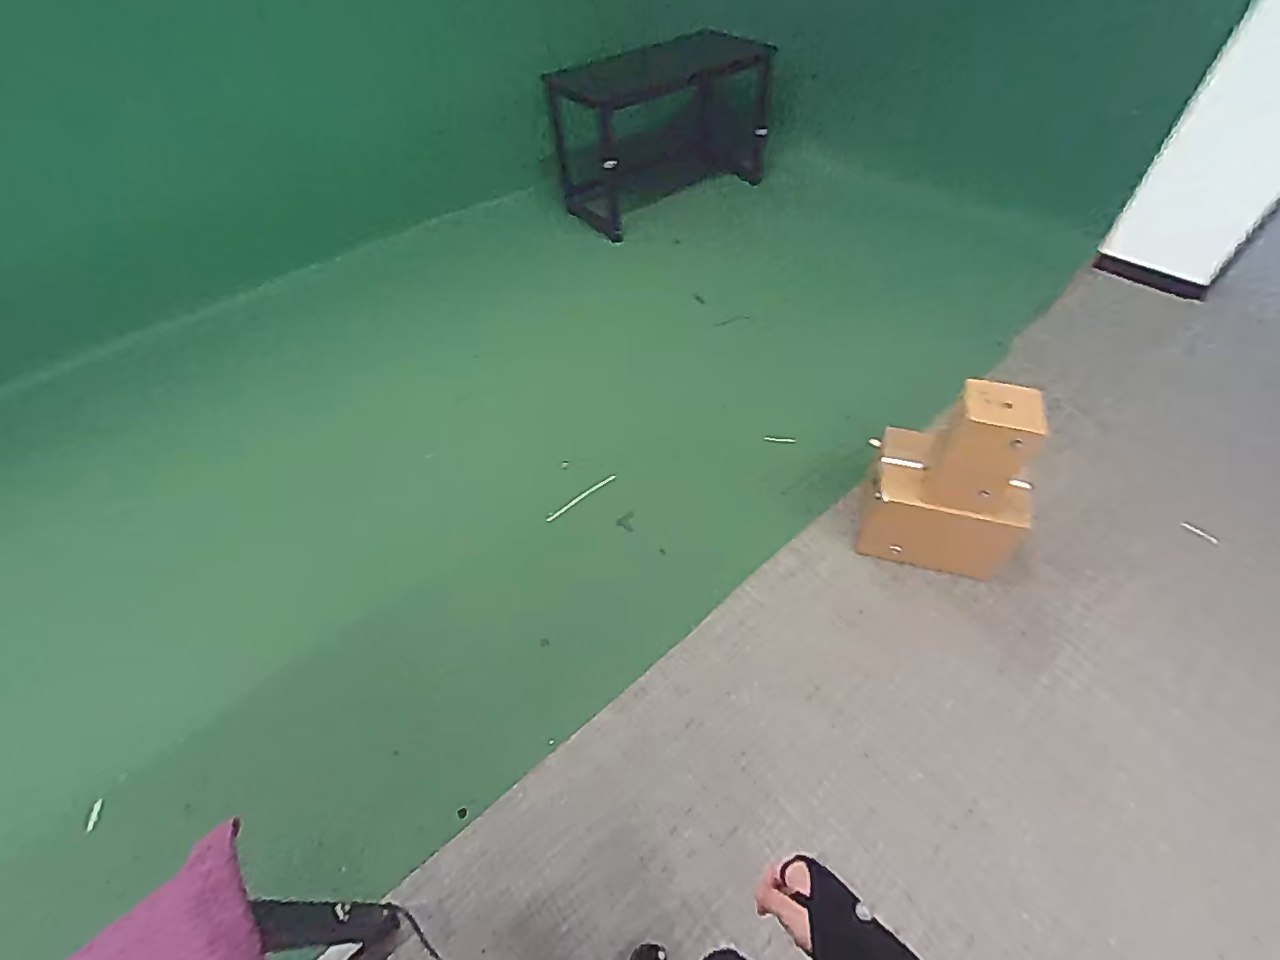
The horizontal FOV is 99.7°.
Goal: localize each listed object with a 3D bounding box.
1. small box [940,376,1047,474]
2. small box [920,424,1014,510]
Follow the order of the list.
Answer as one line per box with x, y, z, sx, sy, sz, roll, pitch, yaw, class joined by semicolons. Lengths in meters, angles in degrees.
0.903;-0.137;1.394;0.179;0.176;0.168;14;53;15;small box
0.913;-0.036;1.523;0.179;0.176;0.168;12;53;14;small box
